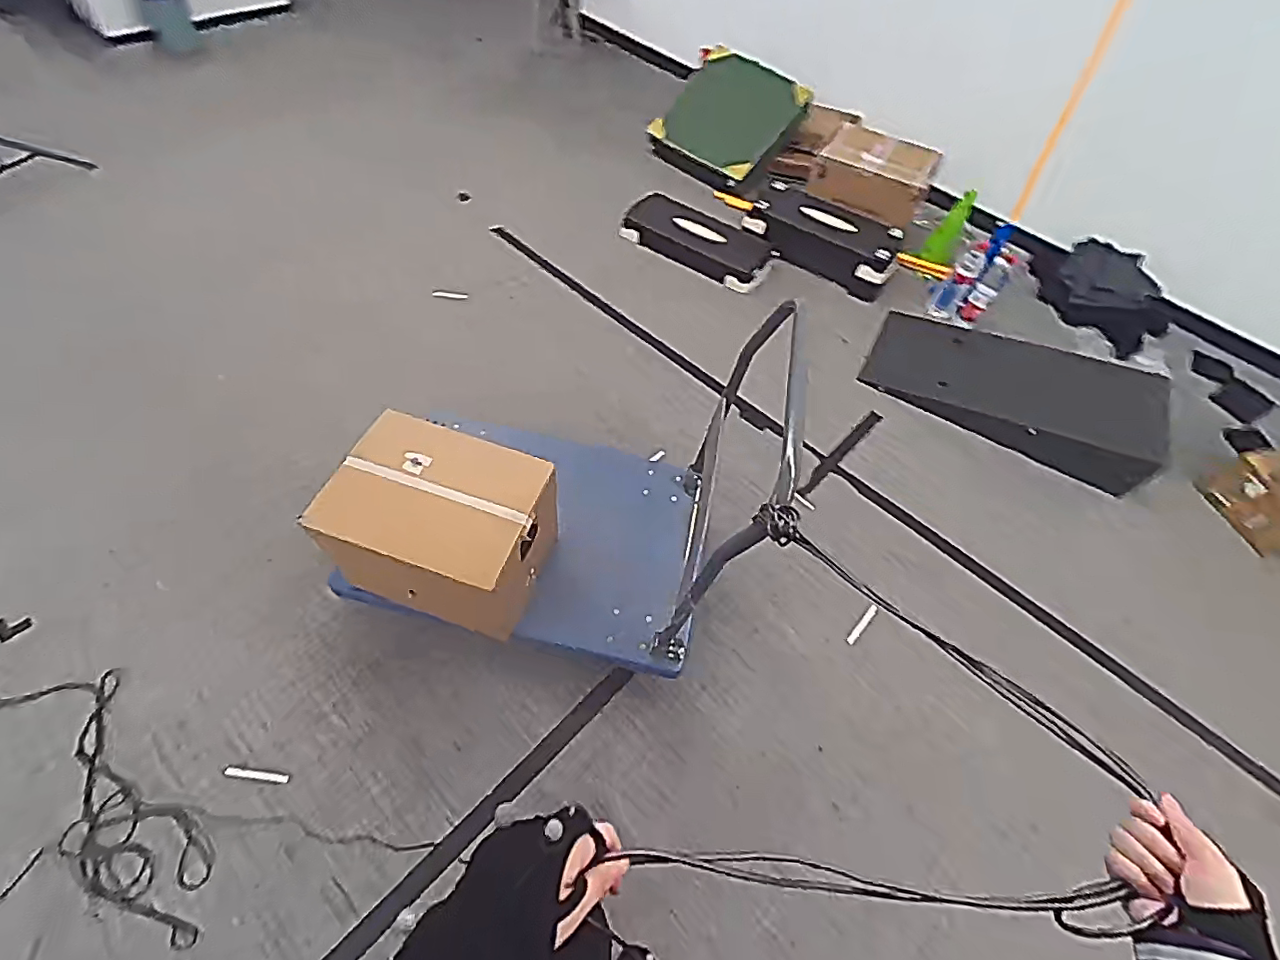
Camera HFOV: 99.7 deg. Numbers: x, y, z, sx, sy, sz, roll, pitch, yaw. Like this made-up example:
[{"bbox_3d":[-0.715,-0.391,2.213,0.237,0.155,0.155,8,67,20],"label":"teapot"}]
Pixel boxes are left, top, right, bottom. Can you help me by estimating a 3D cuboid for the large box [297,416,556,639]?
[{"bbox_3d":[-0.431,0.114,1.210,0.408,0.320,0.320,17,55,5],"label":"large box"}]
